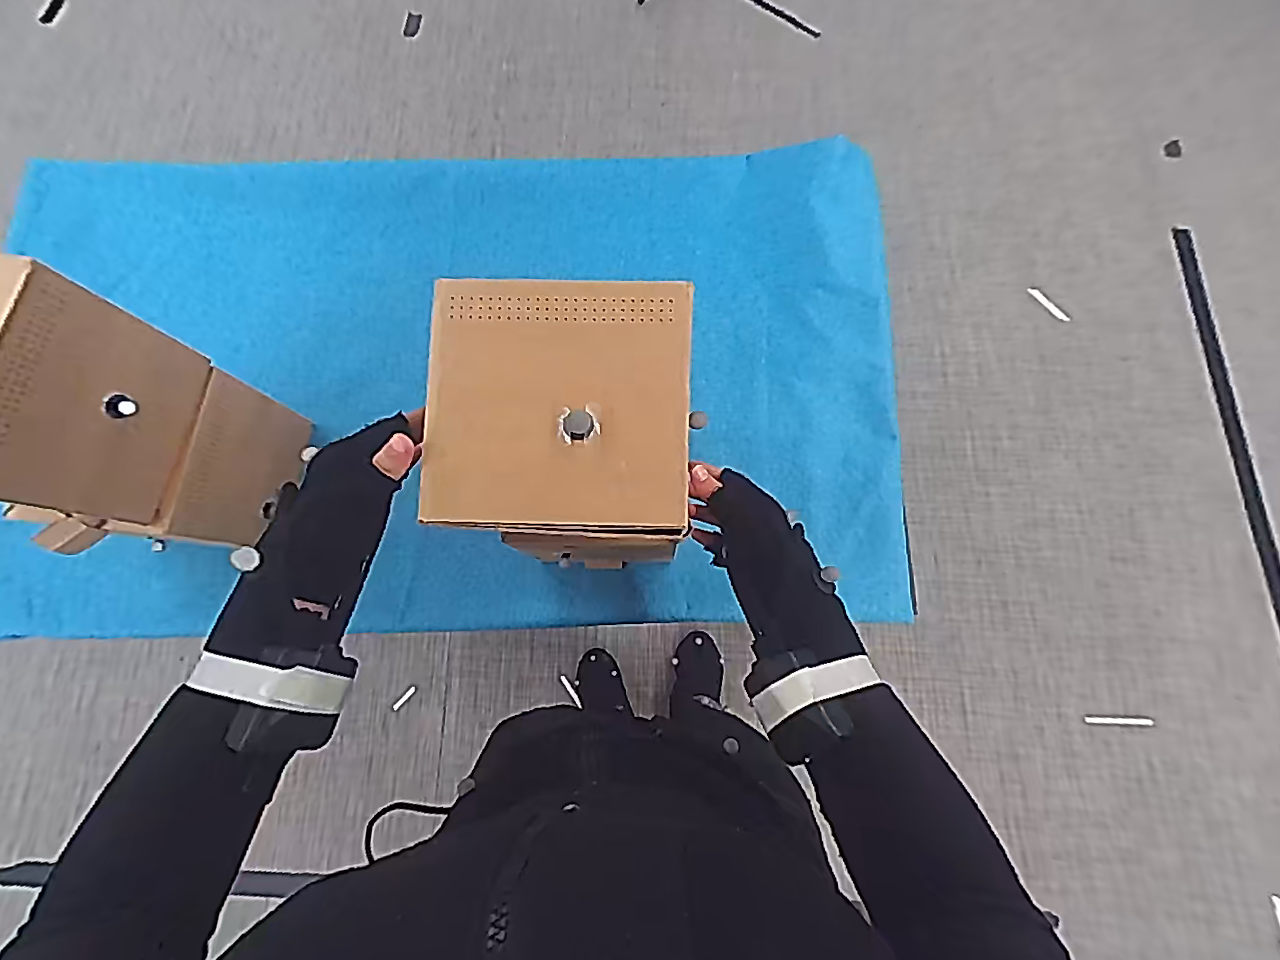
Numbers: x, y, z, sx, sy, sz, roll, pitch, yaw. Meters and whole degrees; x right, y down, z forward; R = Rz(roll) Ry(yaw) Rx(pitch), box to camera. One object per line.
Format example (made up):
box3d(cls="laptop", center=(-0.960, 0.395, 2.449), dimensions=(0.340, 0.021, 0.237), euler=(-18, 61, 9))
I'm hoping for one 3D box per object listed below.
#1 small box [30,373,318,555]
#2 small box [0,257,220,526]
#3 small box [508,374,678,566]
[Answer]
box3d(cls="small box", center=(-0.515, -0.016, 0.618), dimensions=(0.168, 0.176, 0.179), euler=(5, 76, 2))
box3d(cls="small box", center=(-0.525, -0.068, 0.461), dimensions=(0.168, 0.176, 0.179), euler=(9, 78, 3))
box3d(cls="small box", center=(-0.045, -0.001, 0.605), dimensions=(0.168, 0.176, 0.179), euler=(-1, 75, 1))
